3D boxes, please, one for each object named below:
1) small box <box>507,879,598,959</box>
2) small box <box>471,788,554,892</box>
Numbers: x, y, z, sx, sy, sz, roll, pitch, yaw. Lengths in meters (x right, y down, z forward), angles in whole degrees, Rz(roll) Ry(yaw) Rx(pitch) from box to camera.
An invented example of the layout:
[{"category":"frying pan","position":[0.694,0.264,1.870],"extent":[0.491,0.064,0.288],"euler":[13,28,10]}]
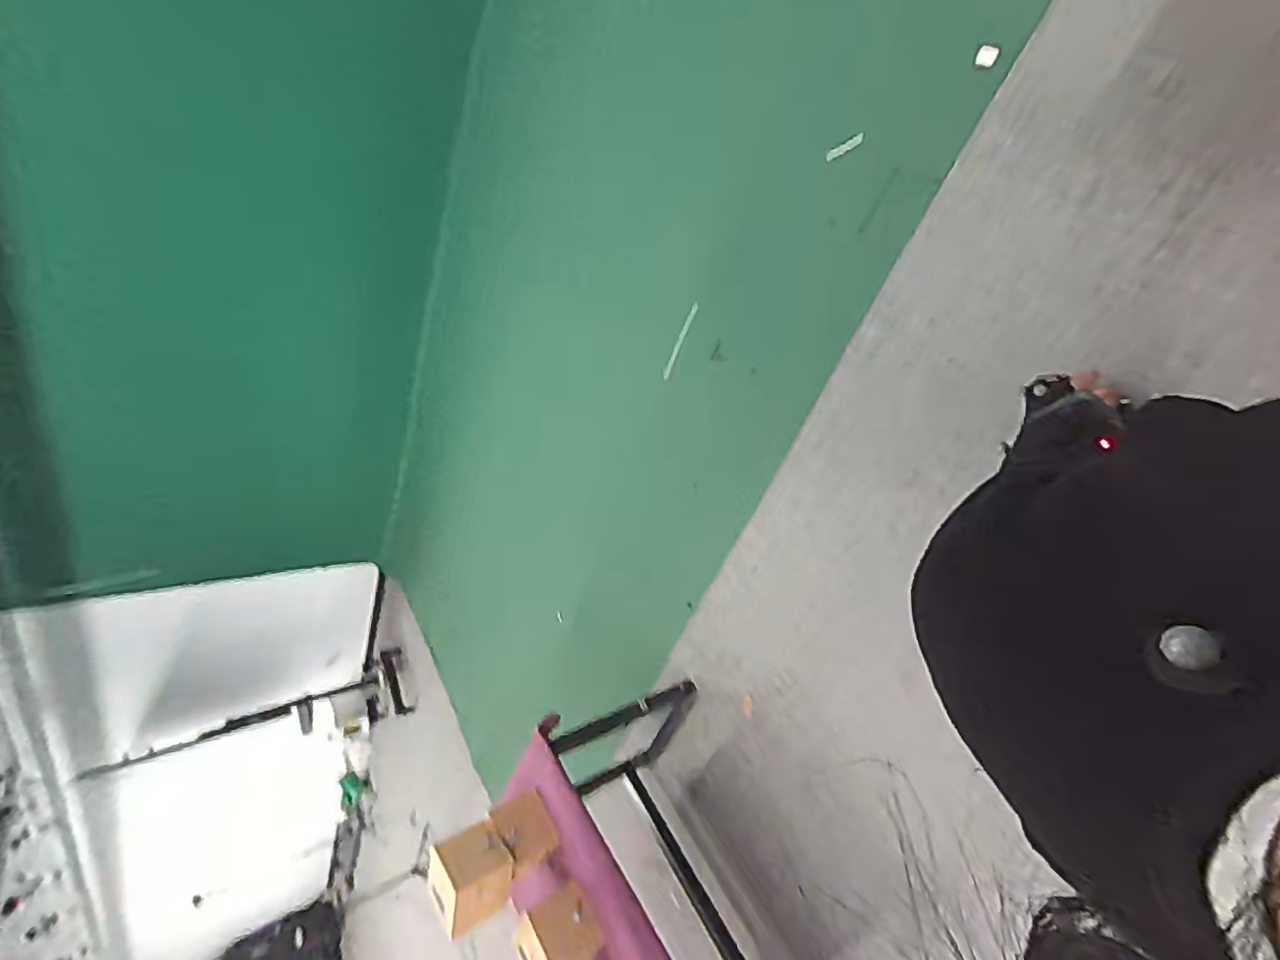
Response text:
[{"category":"small box","position":[-0.238,1.257,1.483],"extent":[0.168,0.176,0.179],"euler":[43,123,37]},{"category":"small box","position":[-0.381,1.076,1.627],"extent":[0.179,0.176,0.168],"euler":[49,127,34]}]
